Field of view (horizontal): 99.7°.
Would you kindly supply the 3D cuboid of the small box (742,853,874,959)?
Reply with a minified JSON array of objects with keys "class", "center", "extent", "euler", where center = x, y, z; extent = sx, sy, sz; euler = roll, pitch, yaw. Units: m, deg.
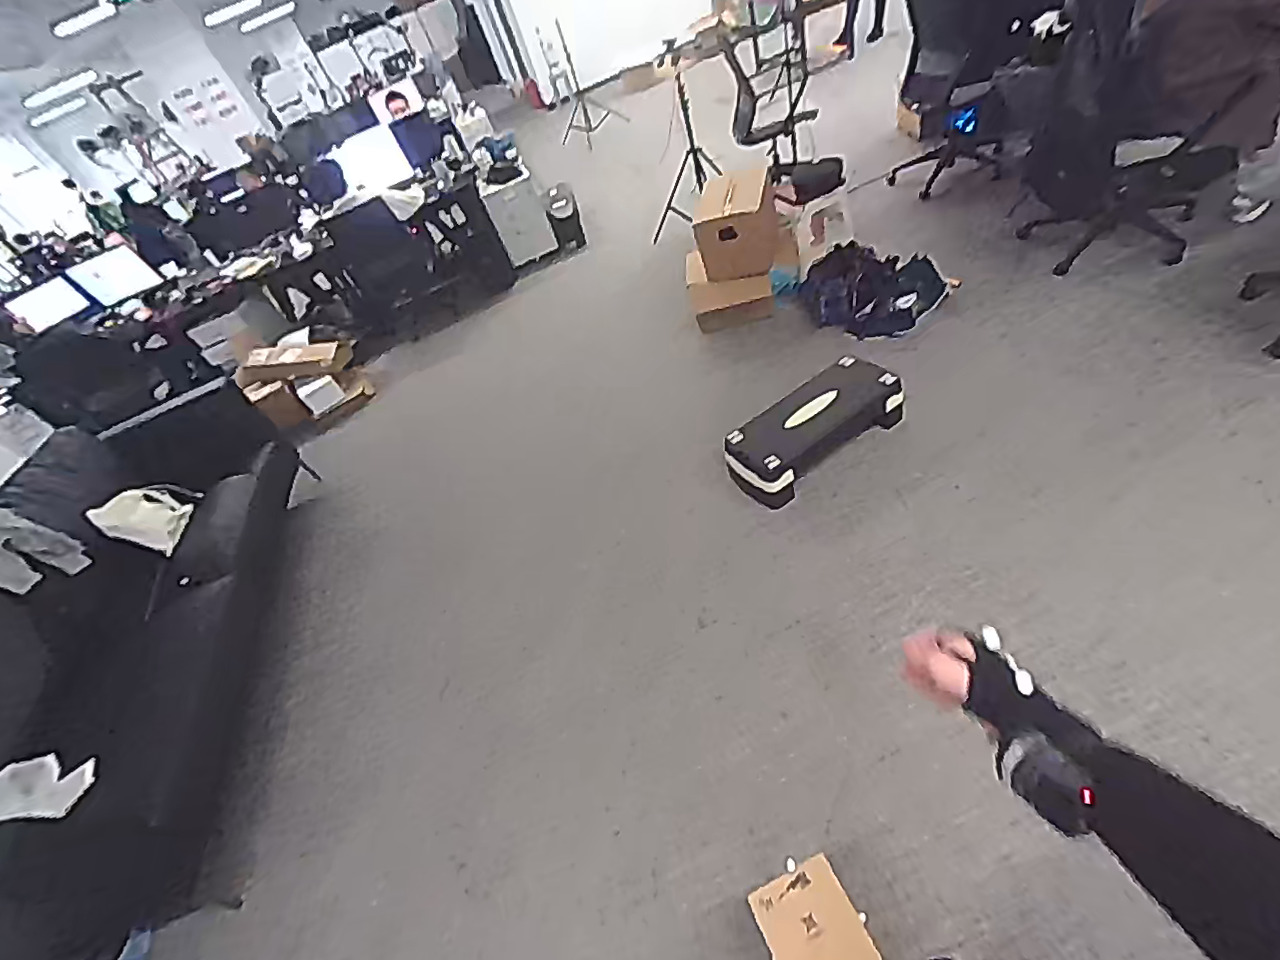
[{"class":"small box","center":[0.315,0.840,1.005],"extent":[0.168,0.176,0.179],"euler":[-28,44,-4]}]
